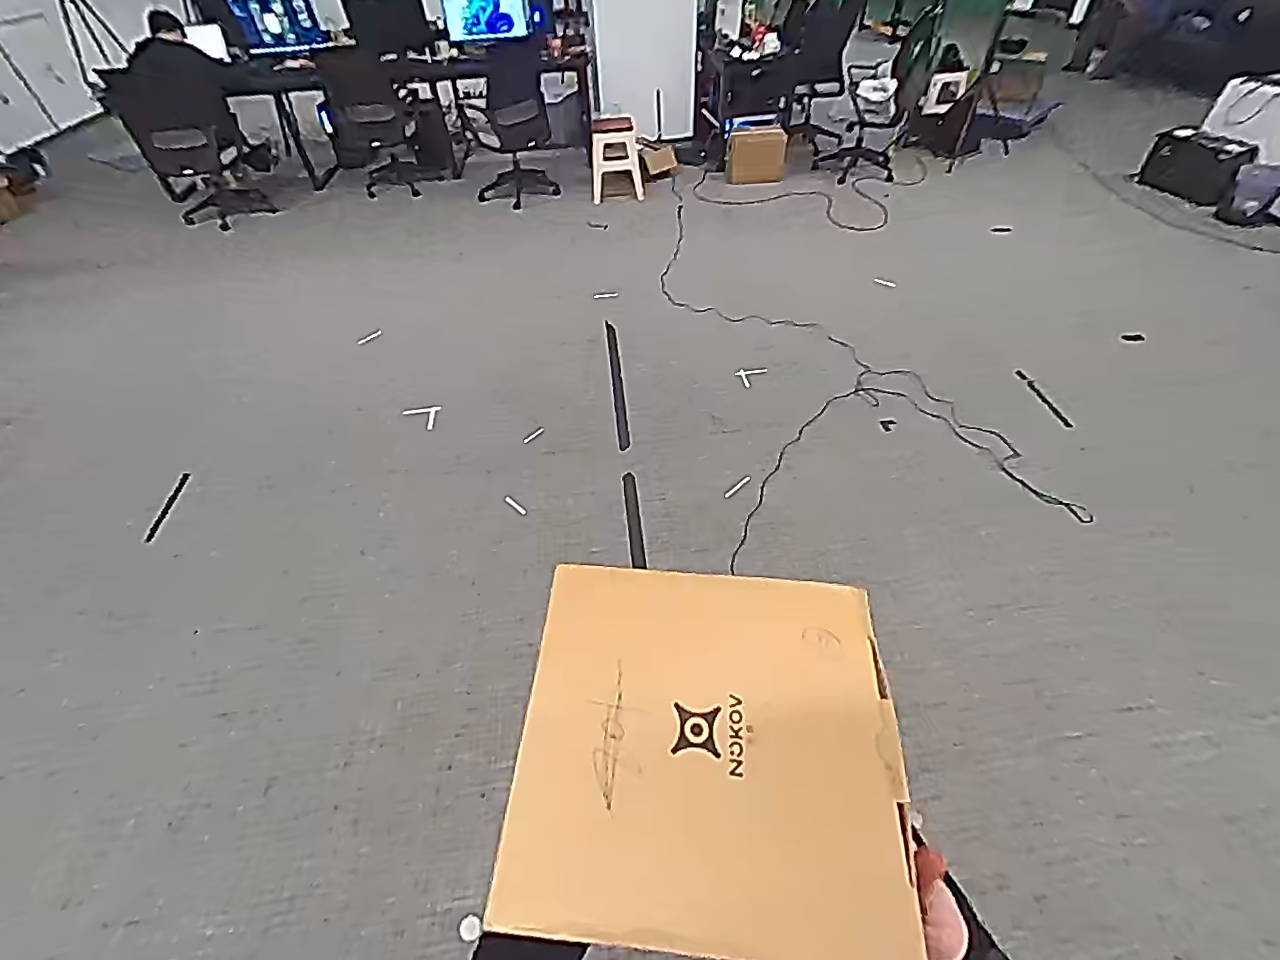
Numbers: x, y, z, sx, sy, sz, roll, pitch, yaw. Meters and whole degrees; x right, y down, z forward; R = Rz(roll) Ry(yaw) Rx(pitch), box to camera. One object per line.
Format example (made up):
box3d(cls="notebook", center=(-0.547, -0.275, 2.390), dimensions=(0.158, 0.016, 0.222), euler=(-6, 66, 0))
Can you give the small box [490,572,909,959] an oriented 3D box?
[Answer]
box3d(cls="small box", center=(0.033, 0.174, 0.333), dimensions=(0.179, 0.176, 0.168), euler=(3, 52, 5))
